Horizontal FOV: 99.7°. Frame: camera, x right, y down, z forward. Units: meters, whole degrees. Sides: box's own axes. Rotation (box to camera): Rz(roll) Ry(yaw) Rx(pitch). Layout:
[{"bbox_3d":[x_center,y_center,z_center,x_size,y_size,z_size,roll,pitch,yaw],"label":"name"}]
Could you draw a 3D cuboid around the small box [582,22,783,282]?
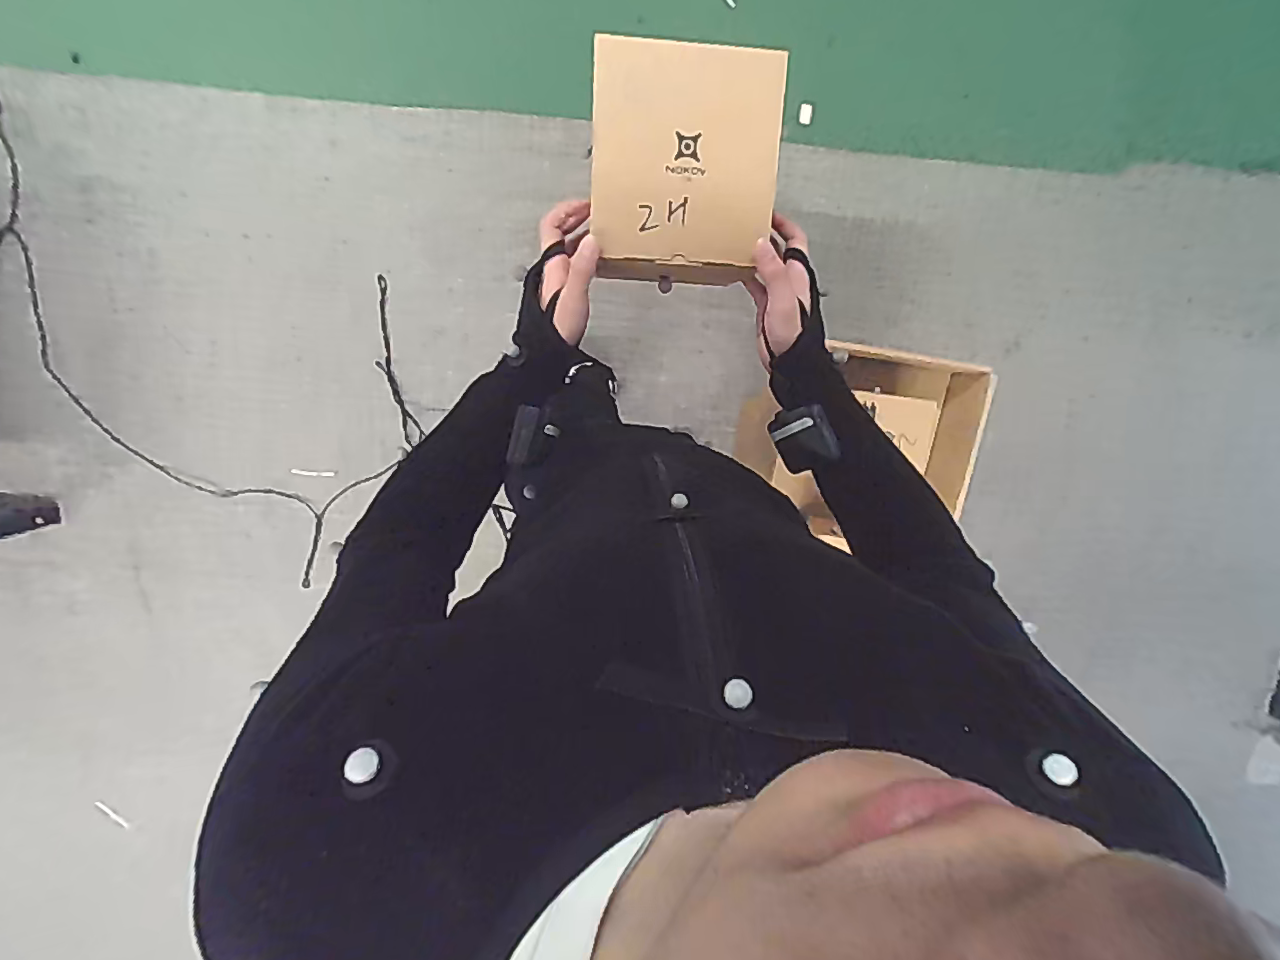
[{"bbox_3d":[0.029,-0.305,0.543,0.168,0.176,0.179,2,105,-4],"label":"small box"}]
